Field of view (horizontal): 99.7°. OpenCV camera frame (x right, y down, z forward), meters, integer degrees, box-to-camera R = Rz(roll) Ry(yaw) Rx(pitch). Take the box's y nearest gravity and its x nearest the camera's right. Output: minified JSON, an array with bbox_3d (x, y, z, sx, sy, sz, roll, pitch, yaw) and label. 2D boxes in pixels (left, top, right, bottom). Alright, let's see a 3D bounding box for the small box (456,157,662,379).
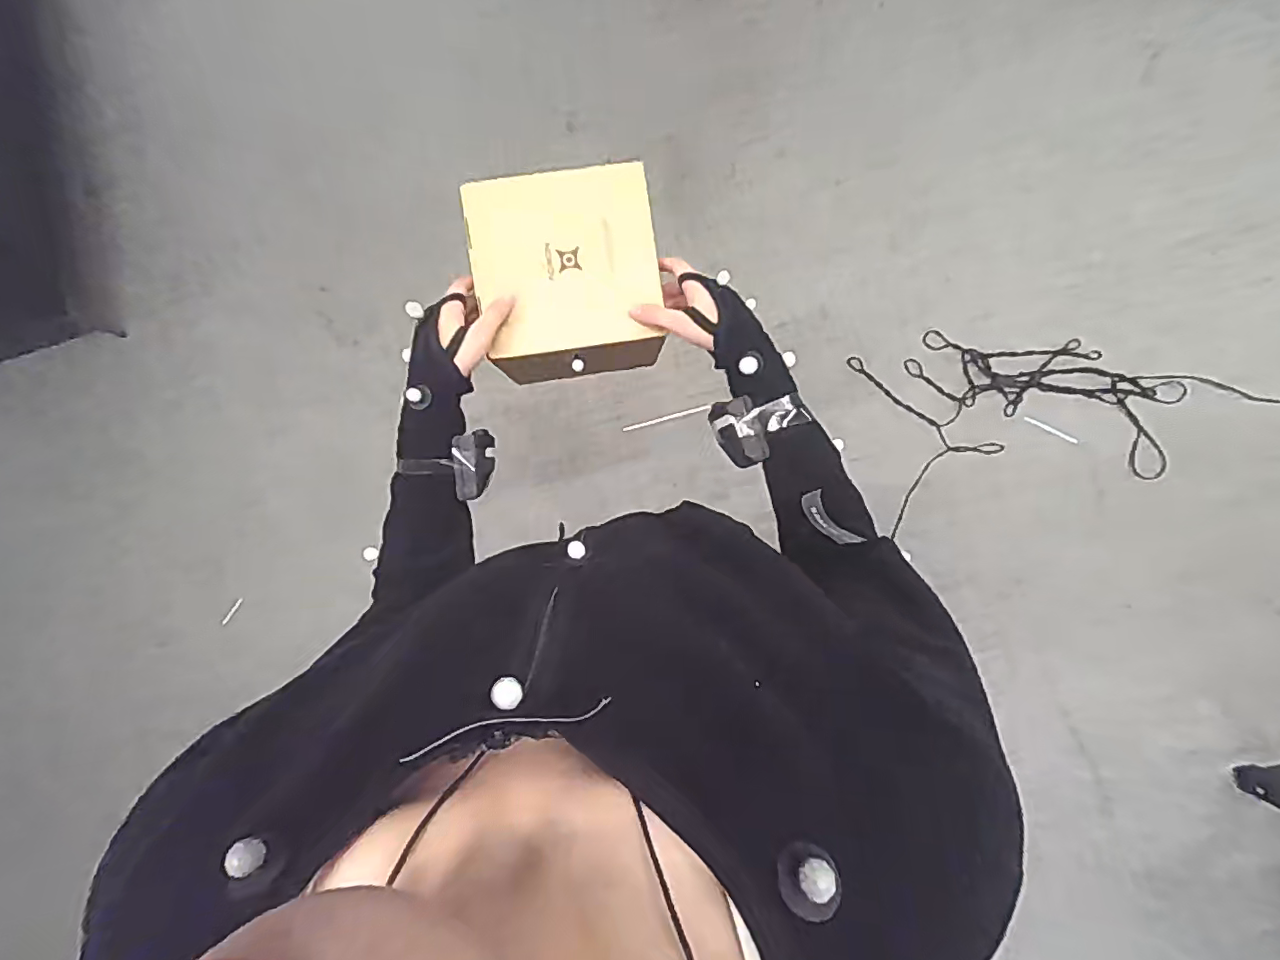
[{"bbox_3d":[-0.075,-0.209,0.578,0.179,0.176,0.168,-8,93,-1],"label":"small box"}]
